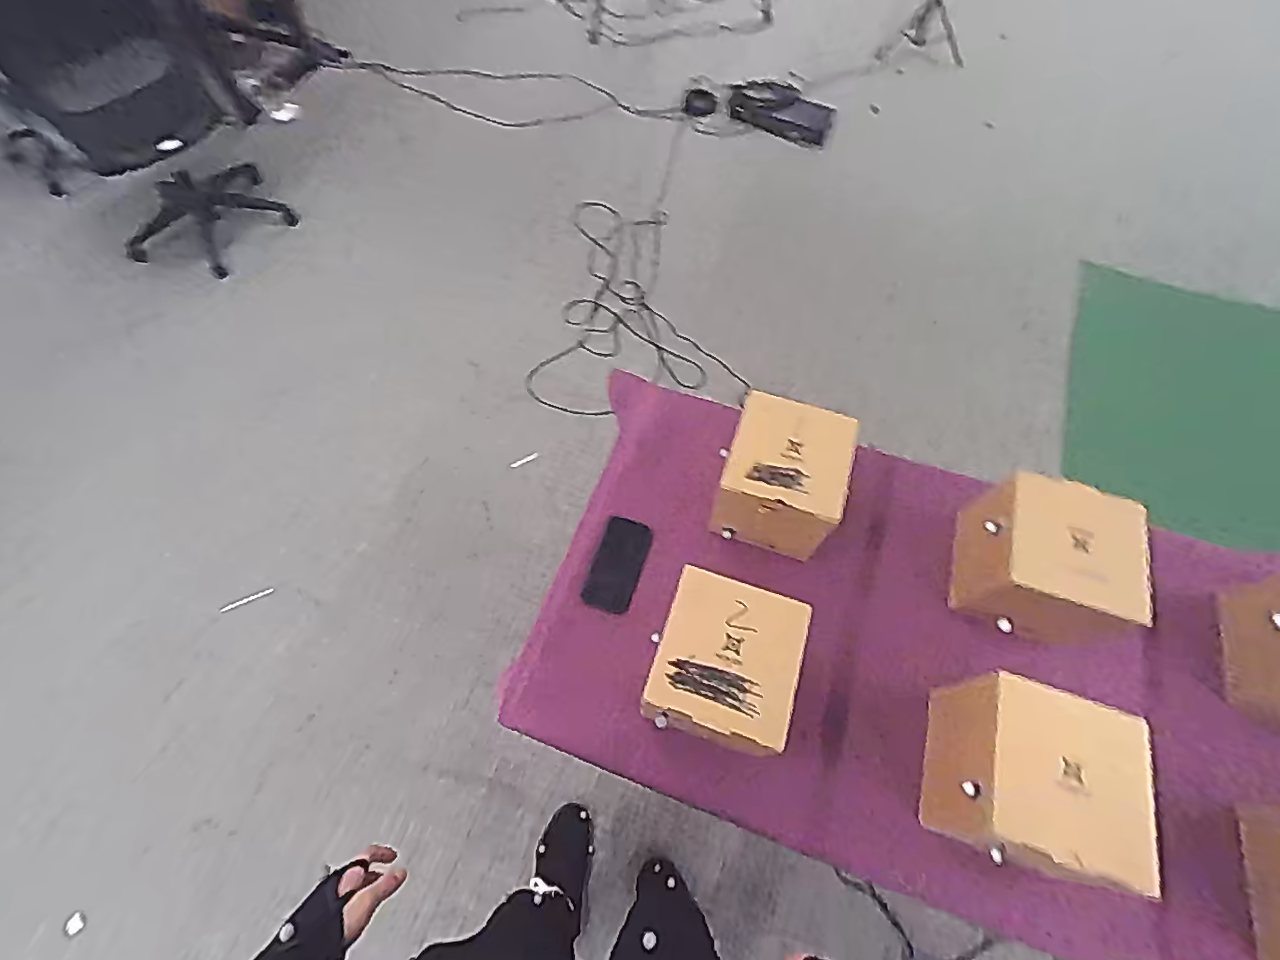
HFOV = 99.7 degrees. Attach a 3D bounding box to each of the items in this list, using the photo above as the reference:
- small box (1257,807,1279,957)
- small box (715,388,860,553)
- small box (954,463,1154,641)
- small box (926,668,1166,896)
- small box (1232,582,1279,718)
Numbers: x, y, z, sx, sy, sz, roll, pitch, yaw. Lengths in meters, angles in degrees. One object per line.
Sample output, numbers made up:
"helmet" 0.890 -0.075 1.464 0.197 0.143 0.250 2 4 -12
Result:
"small box" 0.836 0.476 0.579 0.168 0.176 0.179 16 65 10
"small box" 0.218 -0.008 0.836 0.168 0.176 0.179 17 64 9
"small box" 0.579 0.109 0.775 0.168 0.176 0.179 18 66 10
"small box" 0.470 0.351 0.652 0.168 0.176 0.179 18 64 9
"small box" 0.944 0.231 0.707 0.168 0.176 0.179 19 65 11
